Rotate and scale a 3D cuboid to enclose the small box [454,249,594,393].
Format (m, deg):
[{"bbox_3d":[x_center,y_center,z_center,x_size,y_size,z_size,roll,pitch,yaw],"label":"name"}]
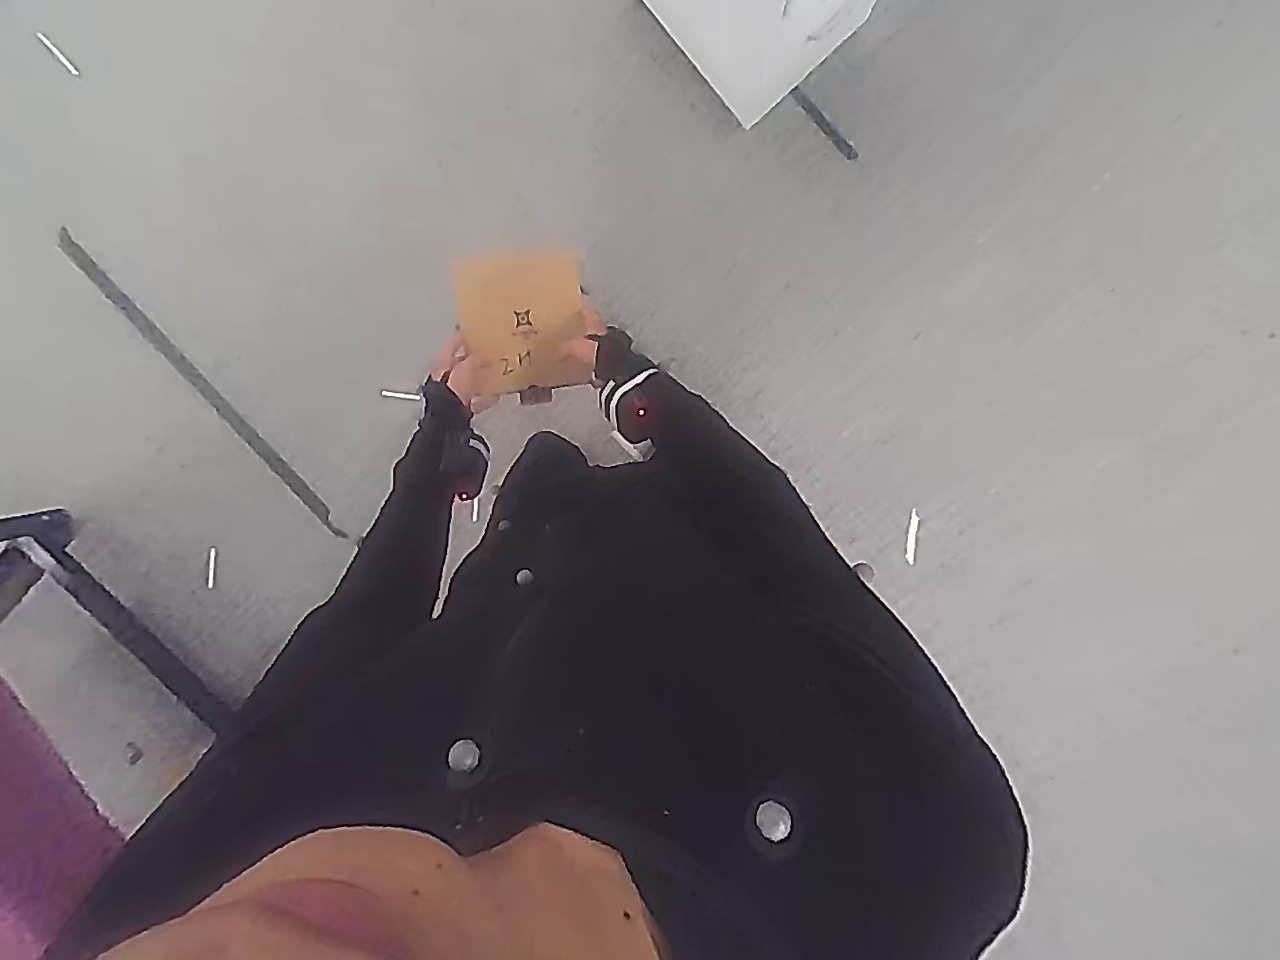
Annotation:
[{"bbox_3d":[-0.162,-0.226,0.800,0.168,0.176,0.179,-7,103,-4],"label":"small box"}]
